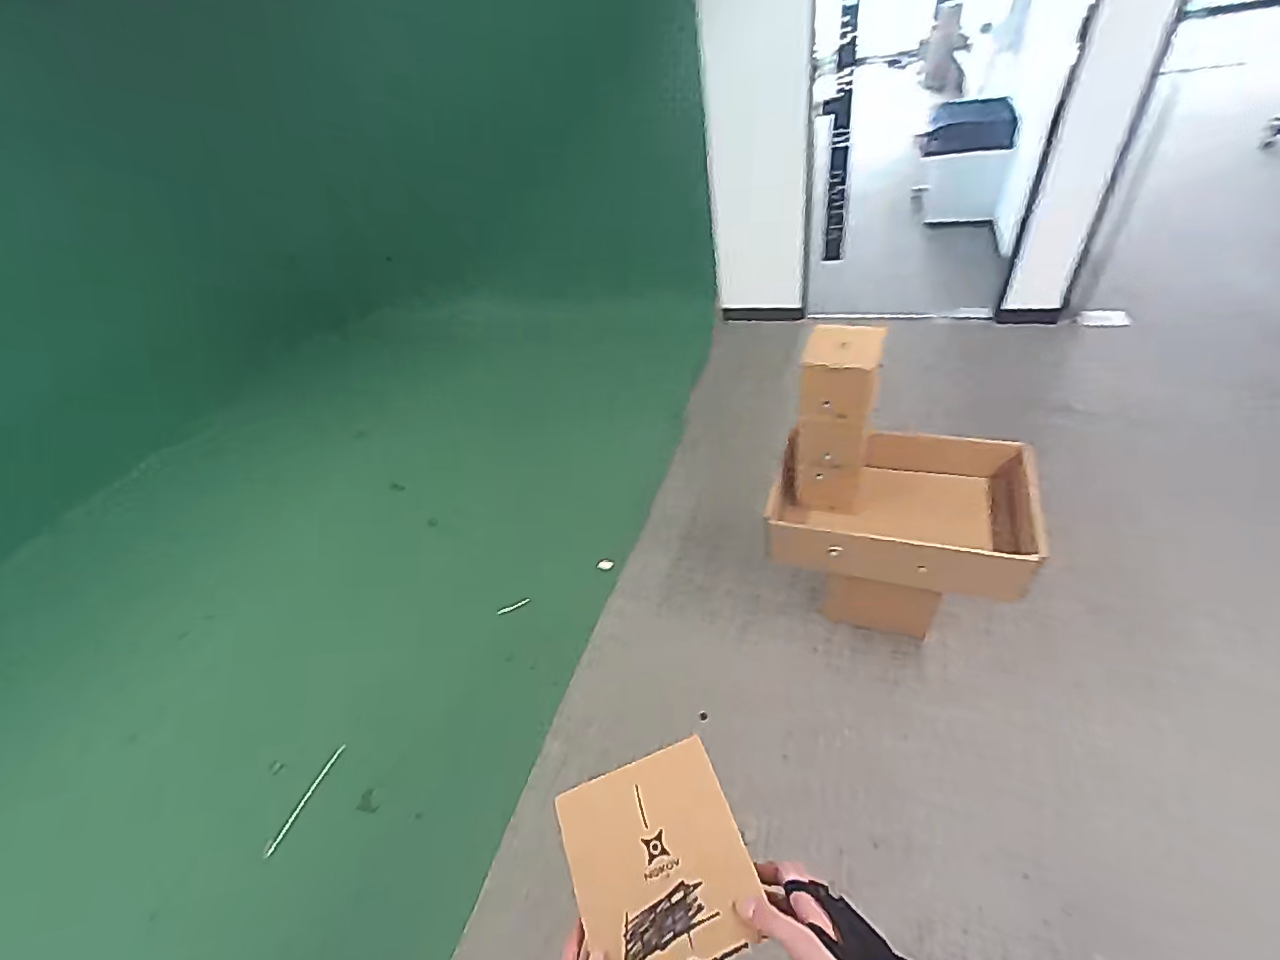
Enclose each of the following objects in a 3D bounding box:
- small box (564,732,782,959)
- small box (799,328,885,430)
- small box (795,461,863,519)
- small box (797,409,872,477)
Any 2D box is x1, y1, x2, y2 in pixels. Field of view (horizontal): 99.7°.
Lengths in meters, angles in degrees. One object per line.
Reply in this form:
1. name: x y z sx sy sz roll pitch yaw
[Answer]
1. small box: 0.033 0.404 0.576 0.168 0.176 0.179 -19 50 -7
2. small box: 0.492 -0.250 1.329 0.168 0.176 0.179 12 49 25
3. small box: 0.544 -0.017 1.553 0.168 0.176 0.179 9 47 22
4. small box: 0.517 -0.134 1.441 0.168 0.176 0.179 10 48 24
